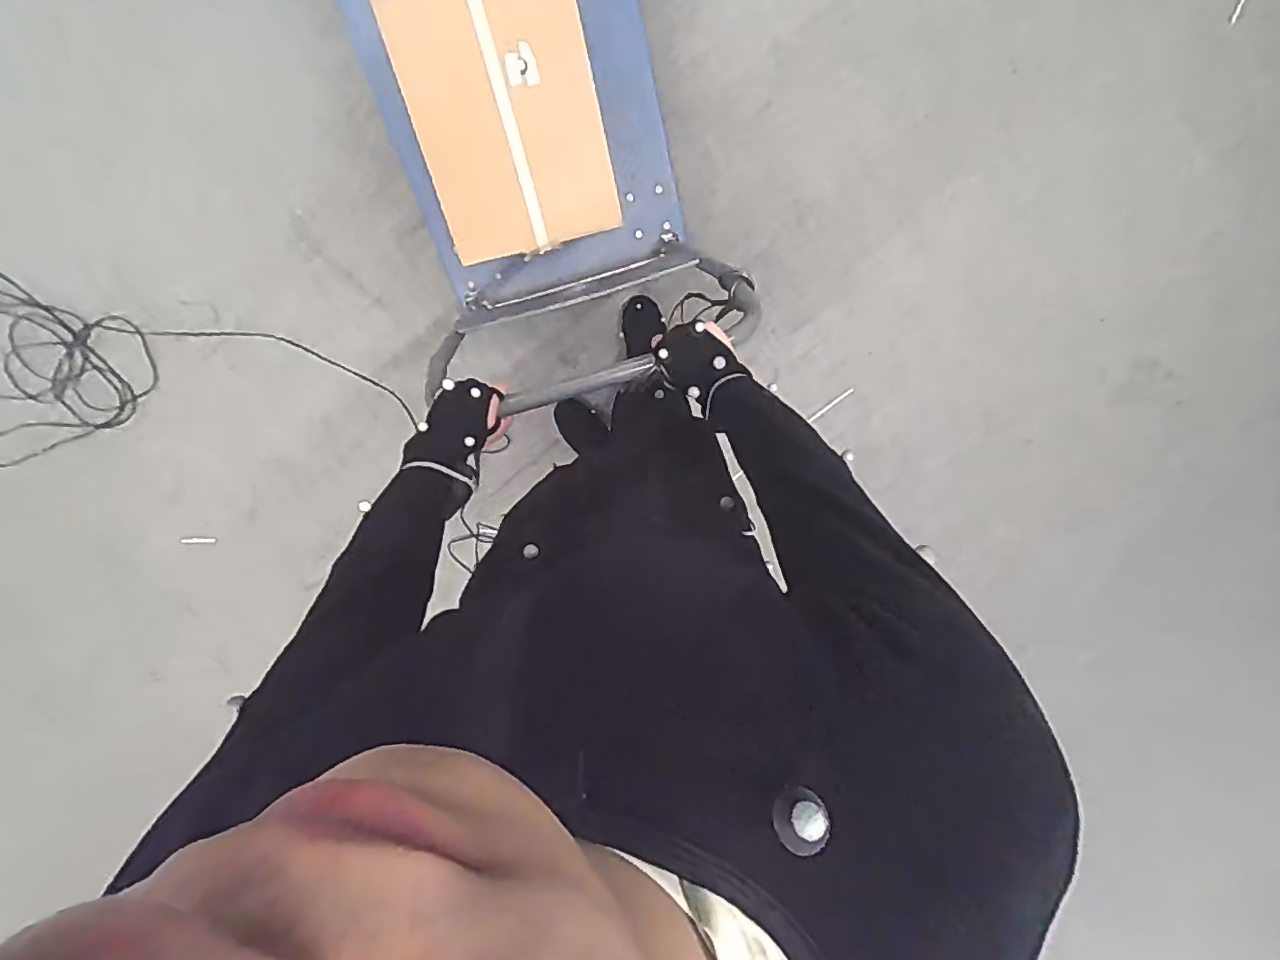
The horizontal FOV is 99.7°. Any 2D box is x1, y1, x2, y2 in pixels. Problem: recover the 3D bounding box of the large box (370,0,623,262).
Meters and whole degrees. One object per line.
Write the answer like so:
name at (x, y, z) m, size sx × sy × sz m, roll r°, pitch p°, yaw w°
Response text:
large box at (-0.235, -0.667, 1.033) m, size 0.320 × 0.320 × 0.408 m, roll -14°, pitch 115°, yaw -1°
